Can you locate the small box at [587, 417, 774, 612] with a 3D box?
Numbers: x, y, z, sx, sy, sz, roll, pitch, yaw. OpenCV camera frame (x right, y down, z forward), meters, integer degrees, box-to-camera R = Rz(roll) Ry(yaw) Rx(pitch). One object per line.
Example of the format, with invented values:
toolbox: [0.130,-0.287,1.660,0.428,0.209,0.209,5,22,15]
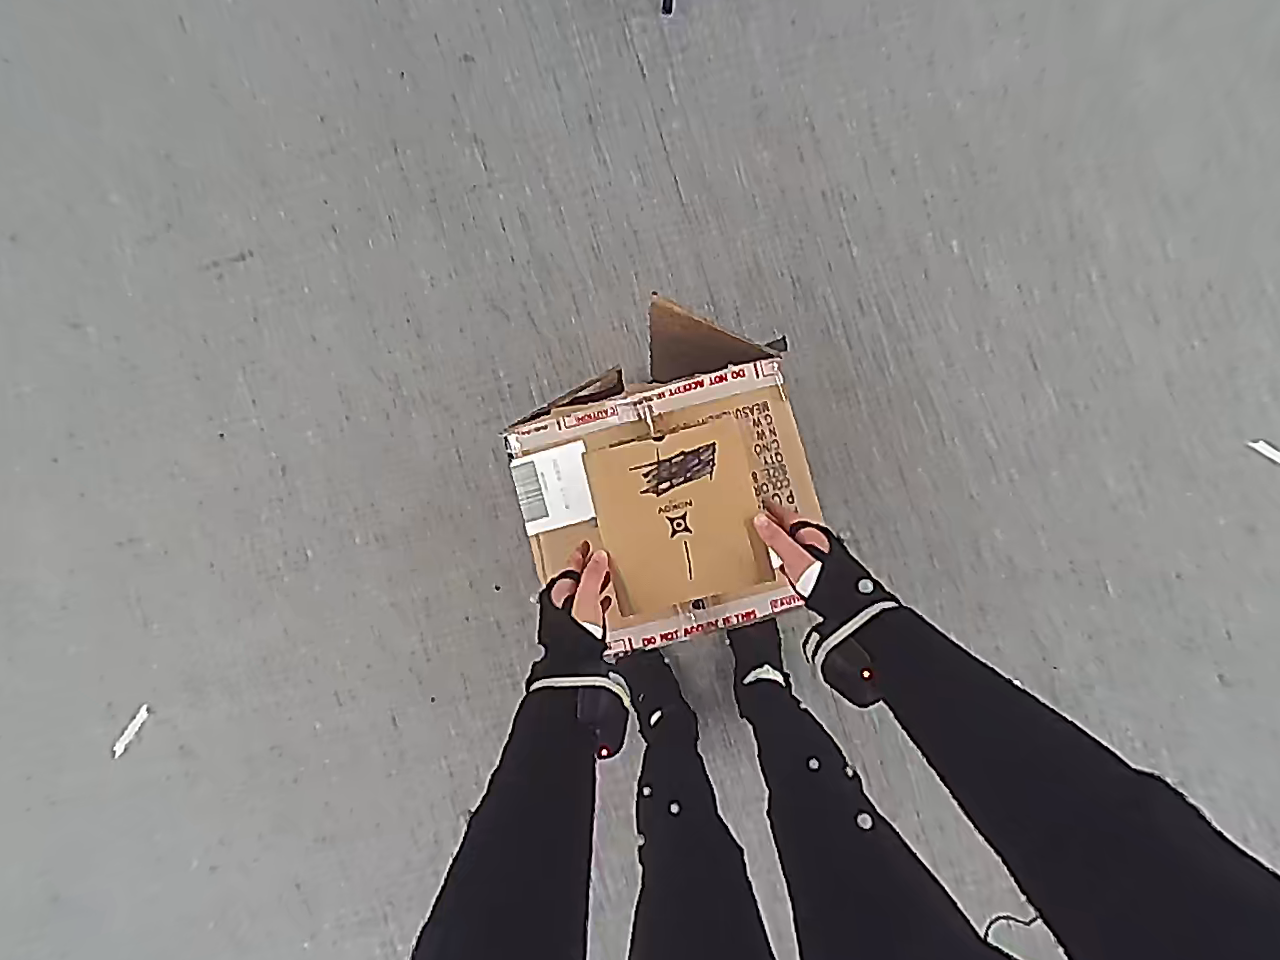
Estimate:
small box: [0.041,0.037,0.638,0.168,0.176,0.179,-14,90,1]
